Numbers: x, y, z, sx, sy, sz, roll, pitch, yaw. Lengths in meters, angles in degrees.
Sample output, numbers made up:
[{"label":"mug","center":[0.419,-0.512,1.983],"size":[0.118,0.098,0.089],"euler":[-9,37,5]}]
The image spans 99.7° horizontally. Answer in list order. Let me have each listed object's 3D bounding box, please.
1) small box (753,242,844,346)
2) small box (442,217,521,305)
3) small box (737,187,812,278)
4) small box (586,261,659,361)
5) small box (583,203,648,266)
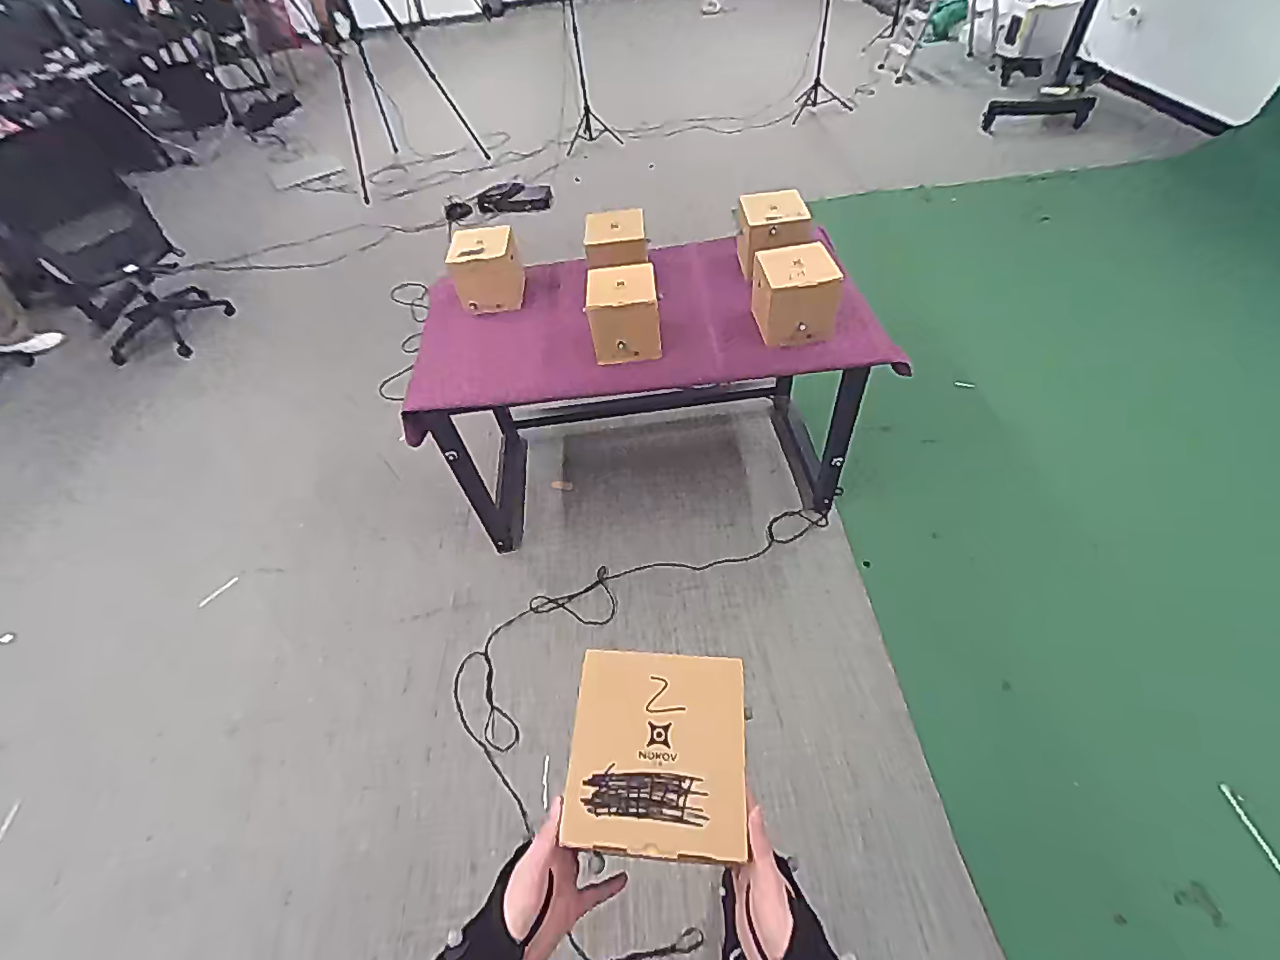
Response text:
[{"label":"small box","center":[0.377,-0.453,1.323],"size":[0.168,0.176,0.179],"euler":[-7,51,2]},{"label":"small box","center":[-0.441,-0.614,1.534],"size":[0.168,0.176,0.179],"euler":[-5,52,1]},{"label":"small box","center":[0.369,-0.691,1.515],"size":[0.168,0.176,0.179],"euler":[-6,51,2]},{"label":"small box","center":[-0.040,-0.418,1.344],"size":[0.168,0.176,0.179],"euler":[-5,51,2]},{"label":"small box","center":[-0.065,-0.658,1.536],"size":[0.168,0.176,0.179],"euler":[-4,53,3]}]
